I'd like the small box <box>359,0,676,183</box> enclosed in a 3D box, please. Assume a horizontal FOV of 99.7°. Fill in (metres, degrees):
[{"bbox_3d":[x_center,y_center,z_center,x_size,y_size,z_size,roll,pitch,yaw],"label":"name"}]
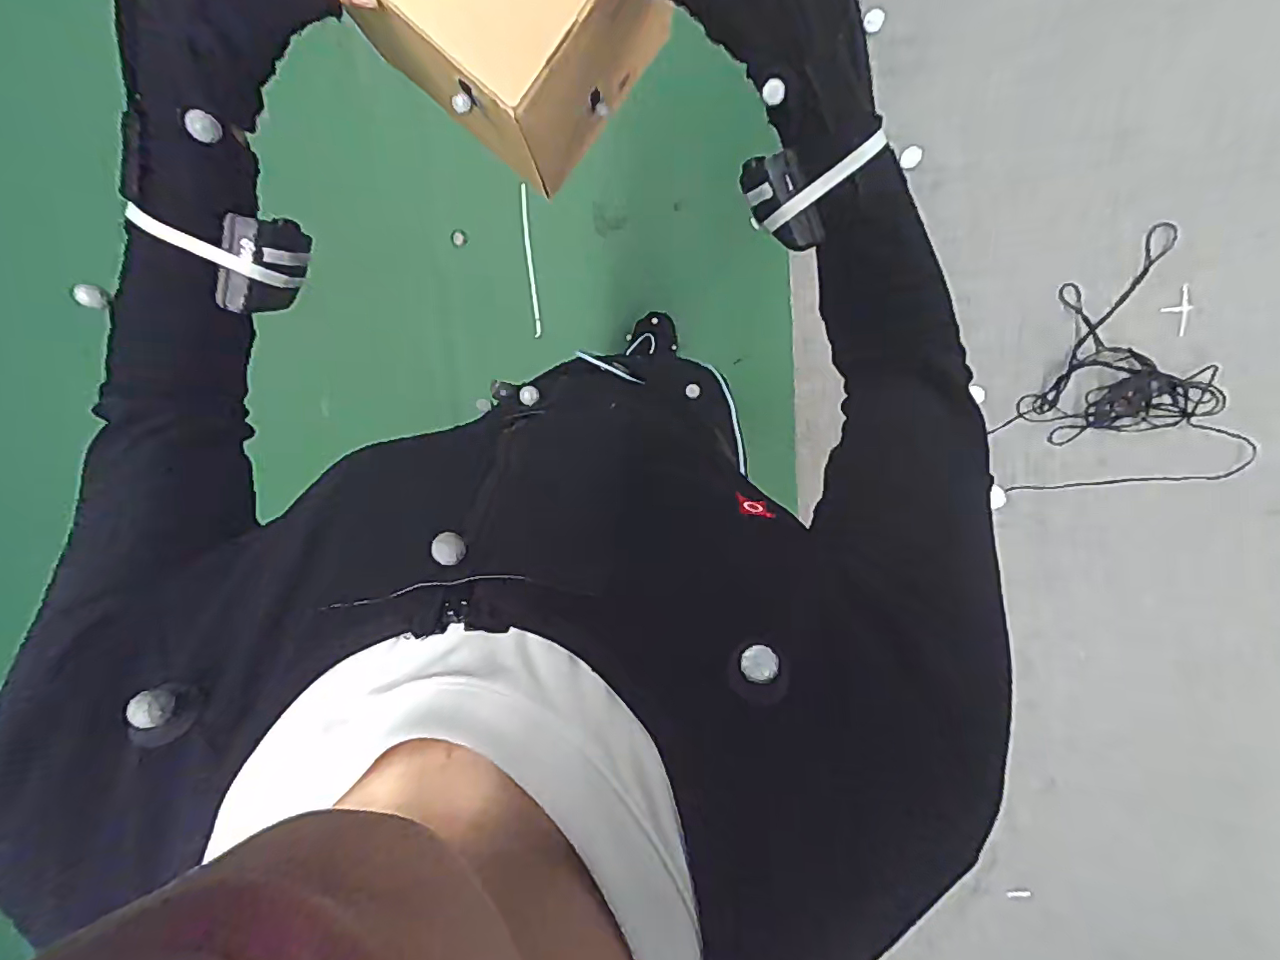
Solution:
[{"bbox_3d":[-0.086,-0.346,0.371,0.179,0.176,0.168,38,98,-11],"label":"small box"}]
